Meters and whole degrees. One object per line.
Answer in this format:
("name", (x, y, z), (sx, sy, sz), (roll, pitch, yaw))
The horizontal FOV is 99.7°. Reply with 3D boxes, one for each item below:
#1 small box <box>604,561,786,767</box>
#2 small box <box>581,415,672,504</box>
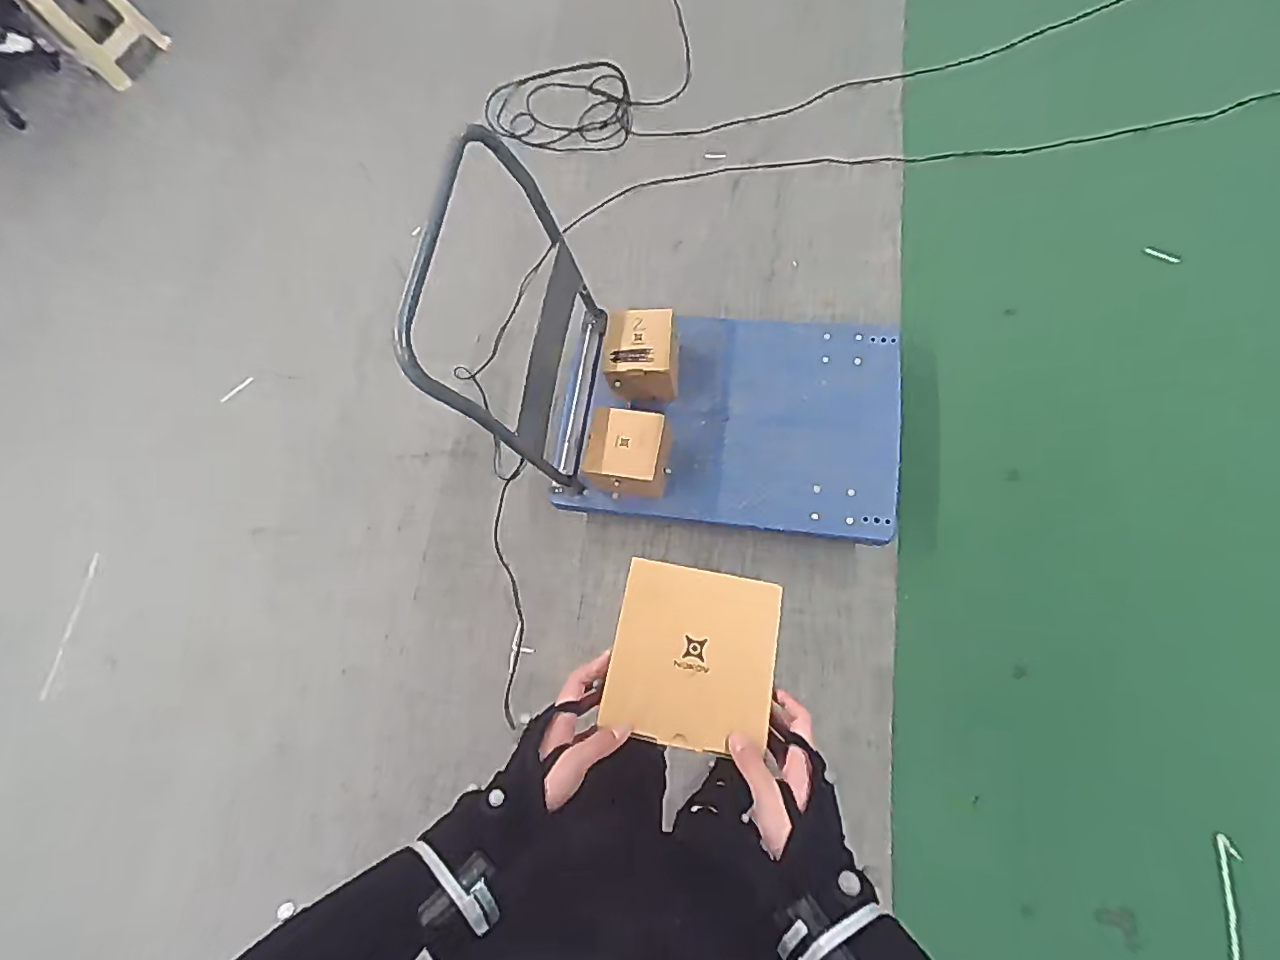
("small box", (0.060, 0.212, 0.627), (0.168, 0.176, 0.179), (11, 68, 5))
("small box", (-0.026, -0.046, 1.338), (0.179, 0.176, 0.168), (9, 75, 12))
